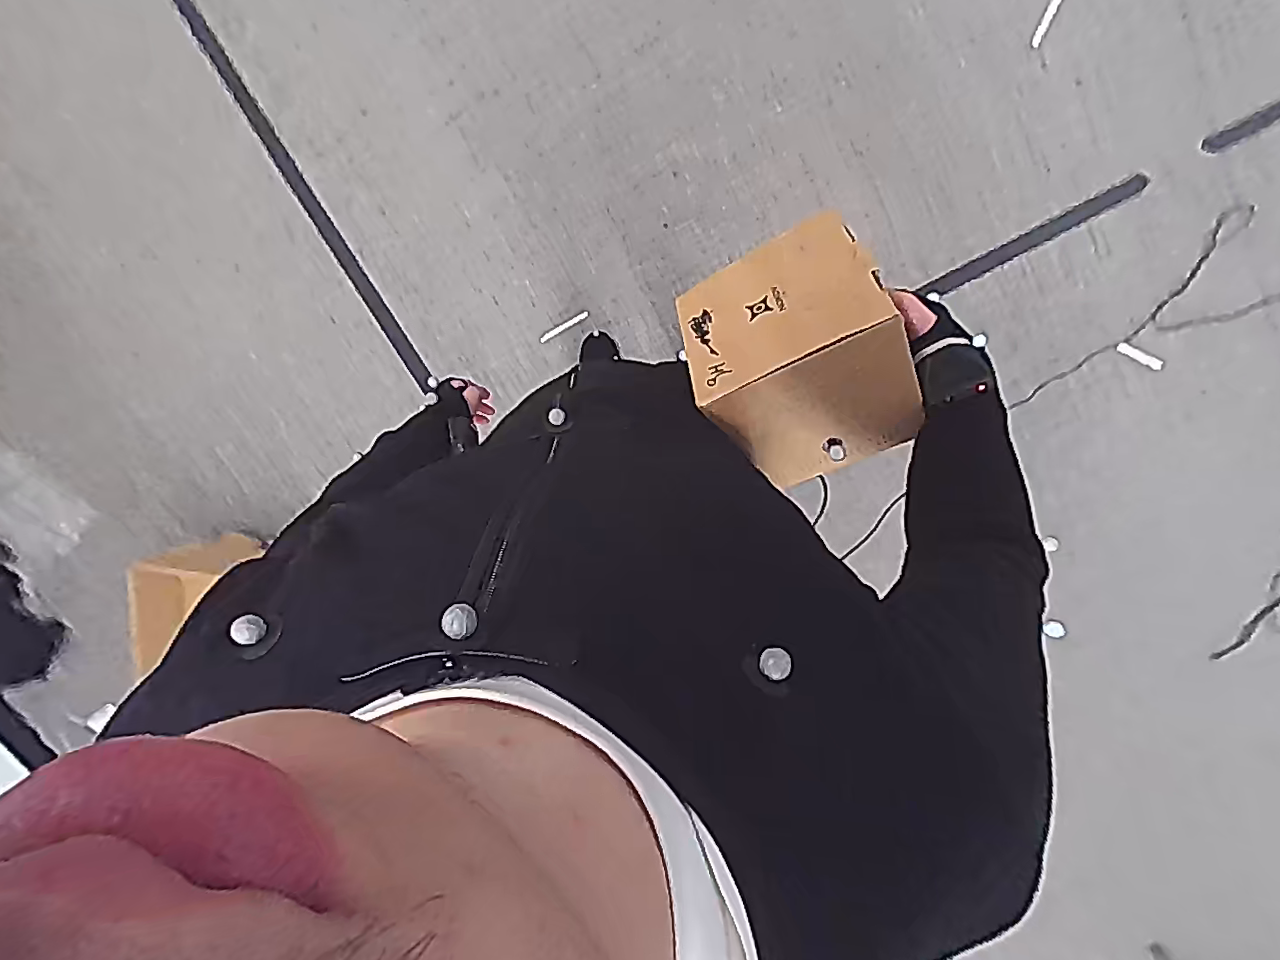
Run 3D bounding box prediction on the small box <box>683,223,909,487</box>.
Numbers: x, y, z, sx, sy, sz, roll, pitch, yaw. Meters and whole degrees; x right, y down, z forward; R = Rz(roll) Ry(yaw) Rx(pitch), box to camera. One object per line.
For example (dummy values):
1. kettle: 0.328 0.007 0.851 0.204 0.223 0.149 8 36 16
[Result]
1. small box: 0.165 -0.120 0.569 0.179 0.168 0.176 -22 139 21
